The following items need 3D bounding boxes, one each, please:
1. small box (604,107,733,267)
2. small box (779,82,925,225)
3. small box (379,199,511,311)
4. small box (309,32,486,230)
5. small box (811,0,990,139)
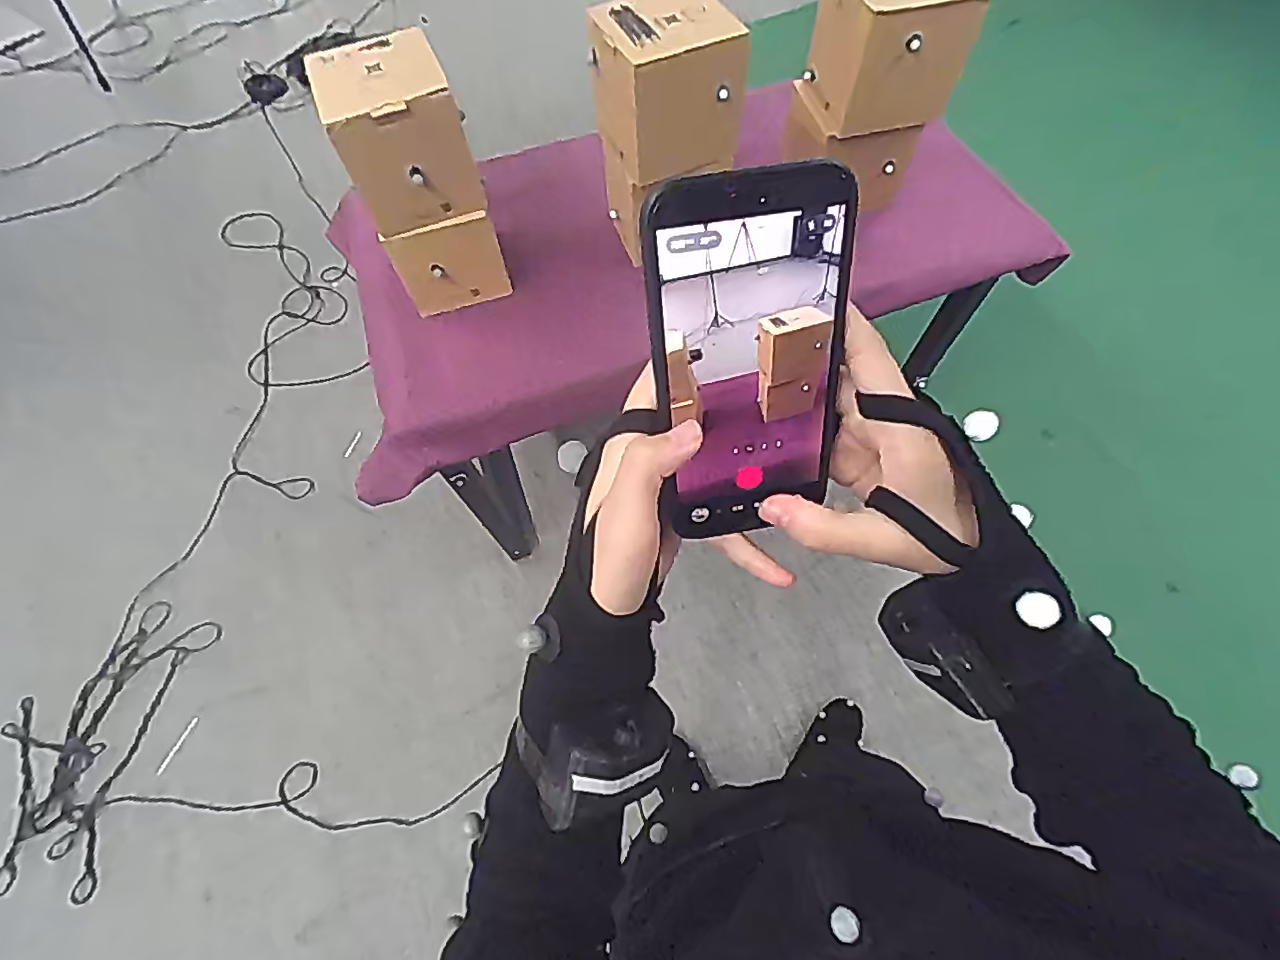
[{"bbox_3d":[0.045,-0.512,0.958,0.179,0.176,0.168,-17,64,-6],"label":"small box"},{"bbox_3d":[0.373,-0.599,0.986,0.179,0.176,0.168,-12,64,-3],"label":"small box"},{"bbox_3d":[-0.332,-0.414,0.930,0.168,0.176,0.179,-17,64,-5],"label":"small box"},{"bbox_3d":[-0.342,-0.493,0.786,0.168,0.176,0.179,-21,66,-8],"label":"small box"},{"bbox_3d":[0.379,-0.660,0.834,0.179,0.176,0.168,-12,64,-4],"label":"small box"}]
